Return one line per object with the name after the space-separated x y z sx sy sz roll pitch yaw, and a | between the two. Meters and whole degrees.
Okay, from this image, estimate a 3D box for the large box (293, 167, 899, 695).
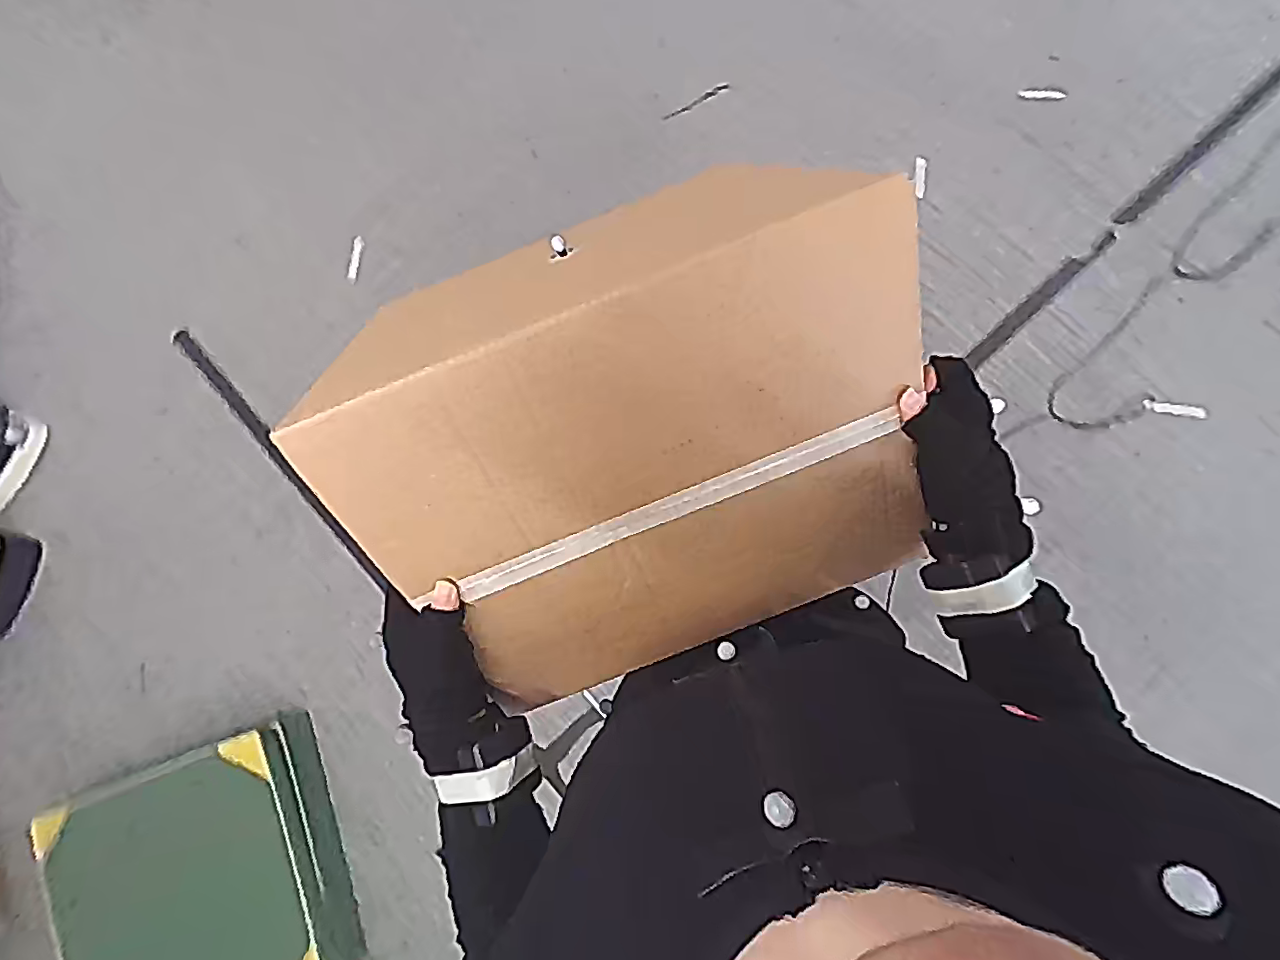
-0.020 -0.065 0.542 0.408 0.320 0.320 -22 124 2 | large box
